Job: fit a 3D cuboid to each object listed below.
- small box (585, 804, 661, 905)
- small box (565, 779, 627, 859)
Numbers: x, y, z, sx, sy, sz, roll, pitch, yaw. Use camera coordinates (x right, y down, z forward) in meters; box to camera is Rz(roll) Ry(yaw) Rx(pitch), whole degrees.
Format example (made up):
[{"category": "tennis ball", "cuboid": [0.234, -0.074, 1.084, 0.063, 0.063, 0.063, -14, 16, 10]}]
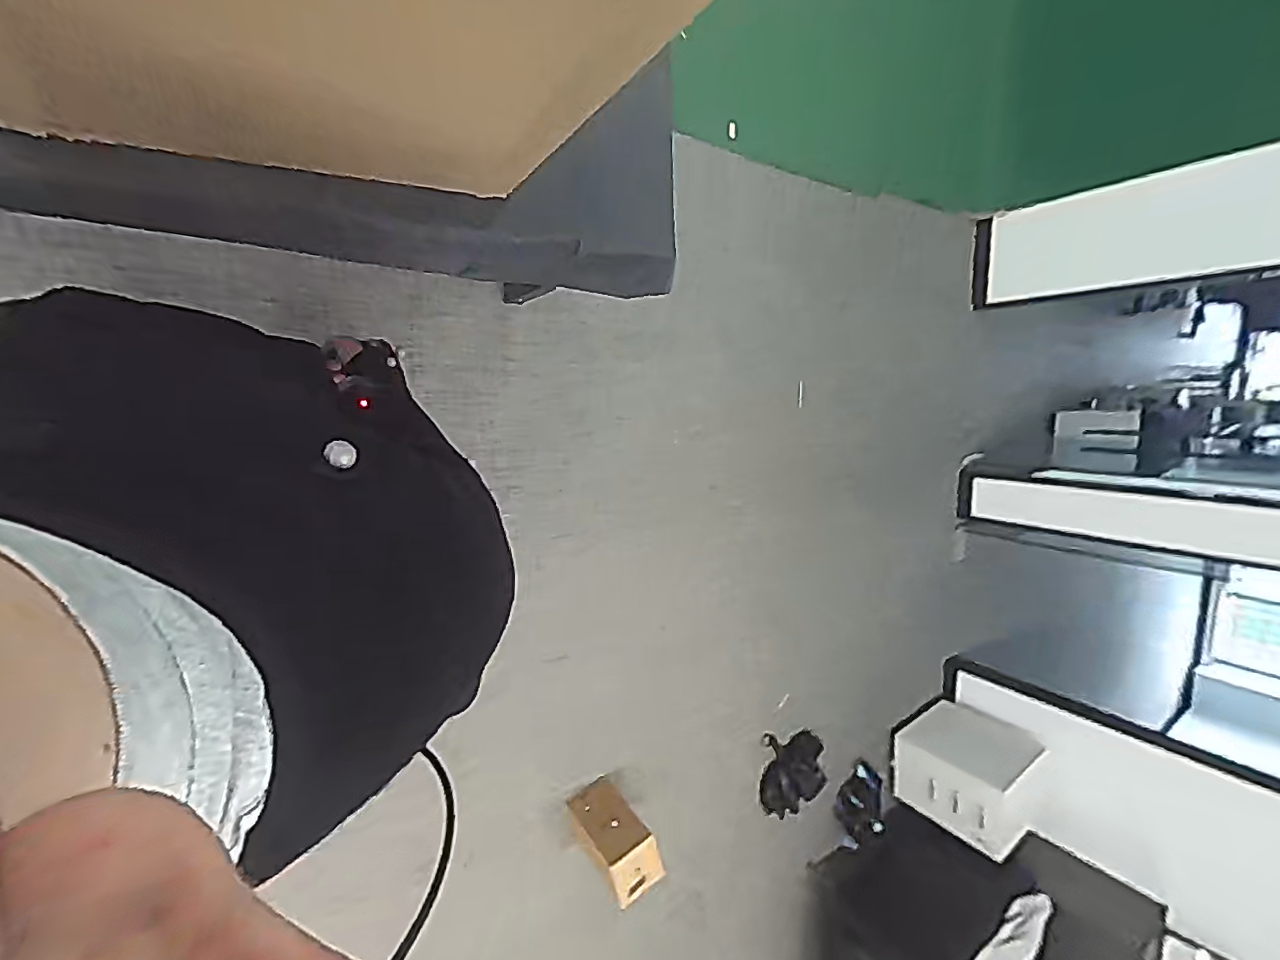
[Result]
[{"category": "small box", "cuboid": [-0.058, 1.212, 1.765, 0.168, 0.176, 0.179, -21, 107, -30]}, {"category": "small box", "cuboid": [-0.145, 1.193, 1.904, 0.168, 0.176, 0.179, -22, 110, -29]}]
